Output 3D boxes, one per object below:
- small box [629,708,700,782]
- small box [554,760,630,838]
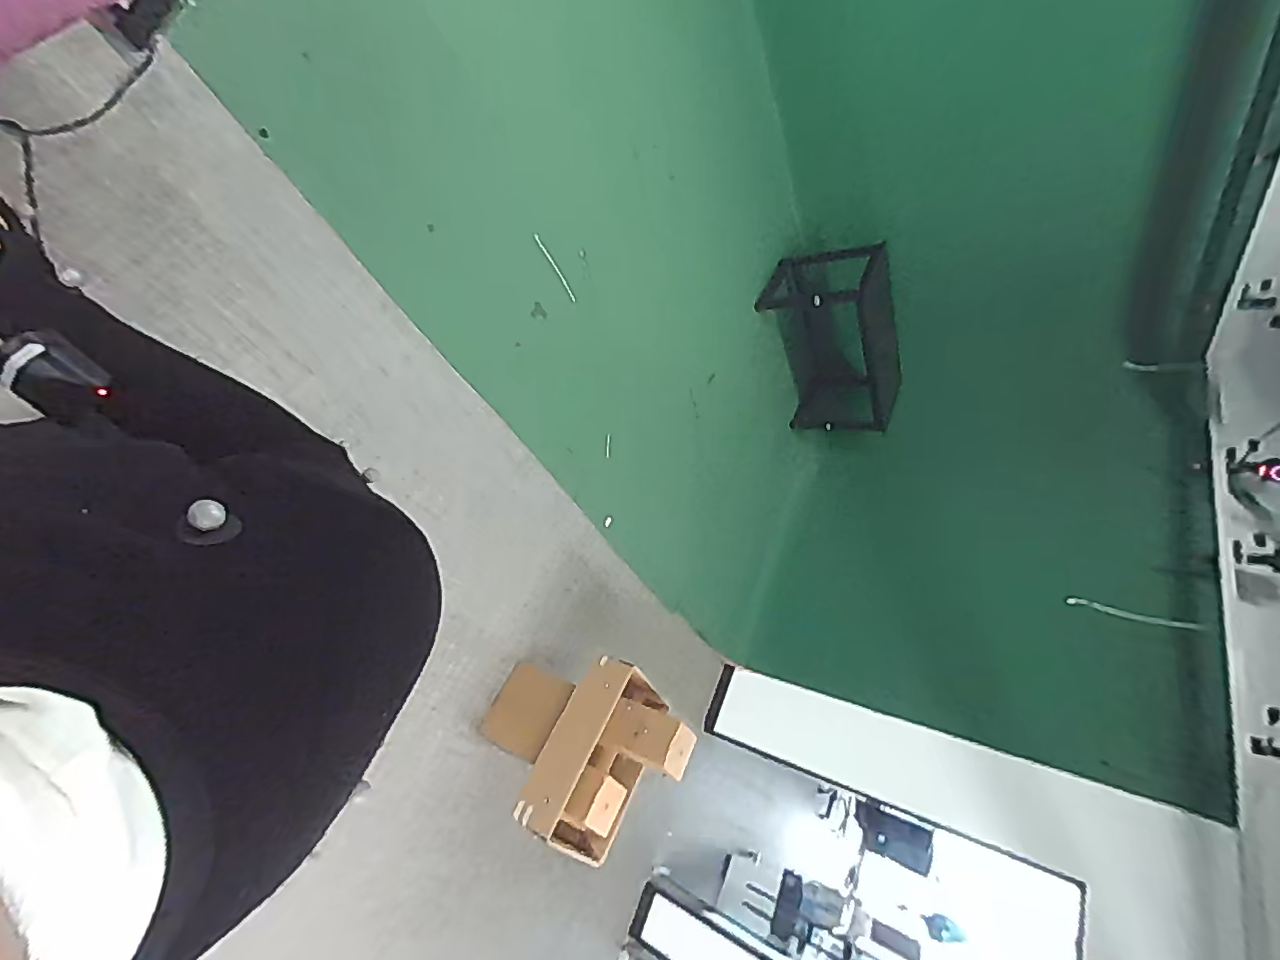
[{"bbox_3d":[0.089,0.959,1.966,0.168,0.176,0.179,-60,137,-30],"label":"small box"},{"bbox_3d":[-0.171,1.128,1.921,0.168,0.176,0.179,-58,135,-31],"label":"small box"}]
